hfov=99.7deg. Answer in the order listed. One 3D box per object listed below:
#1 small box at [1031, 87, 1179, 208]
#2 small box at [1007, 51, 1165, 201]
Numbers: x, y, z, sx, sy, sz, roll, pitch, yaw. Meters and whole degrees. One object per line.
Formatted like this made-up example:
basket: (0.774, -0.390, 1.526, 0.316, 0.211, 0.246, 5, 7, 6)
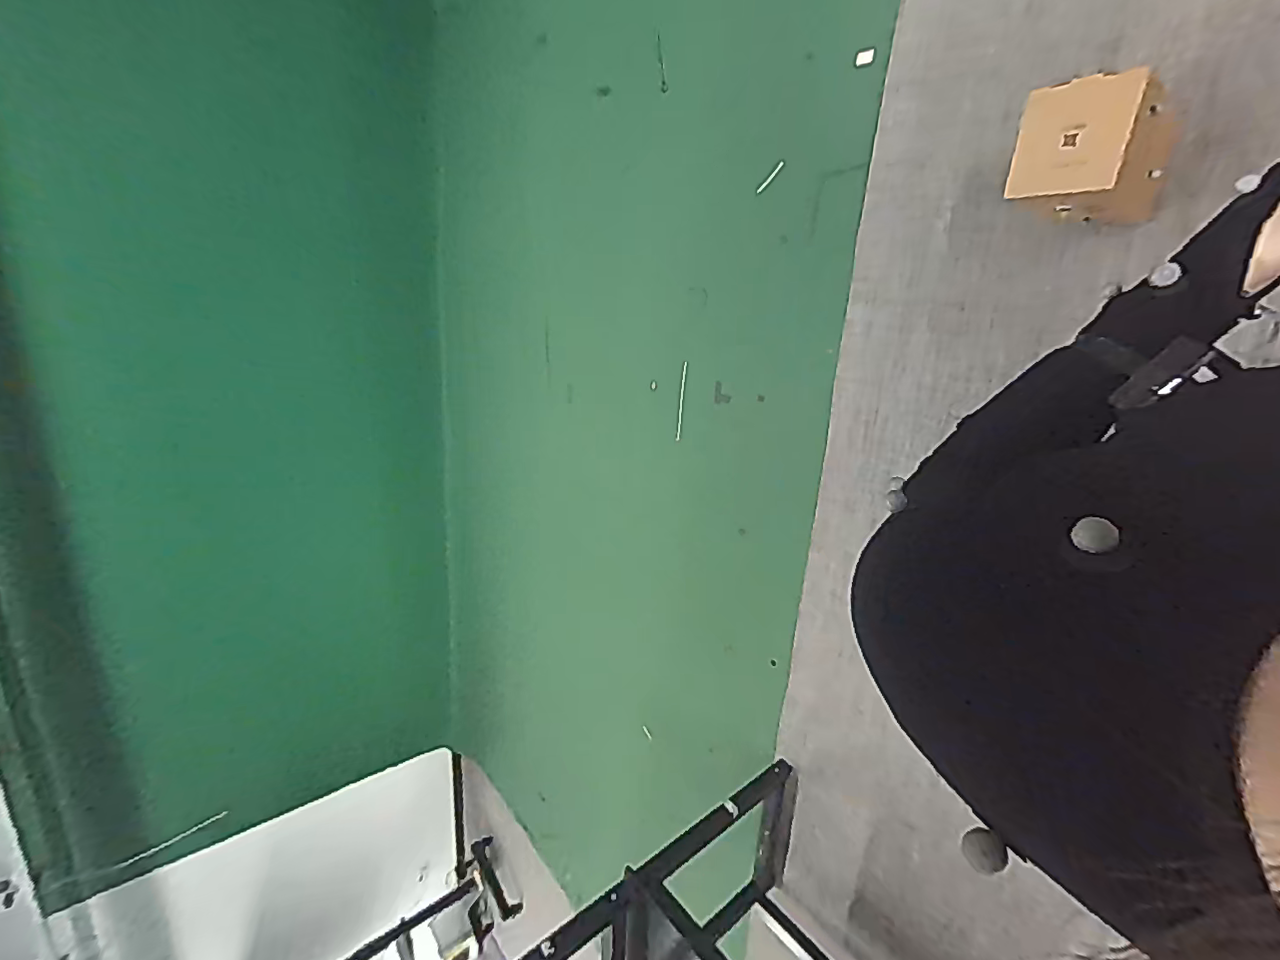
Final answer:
small box: (0.921, -0.643, 1.071, 0.168, 0.176, 0.179, 27, 119, 44)
small box: (0.799, -0.617, 0.968, 0.168, 0.176, 0.179, 24, 117, 47)
